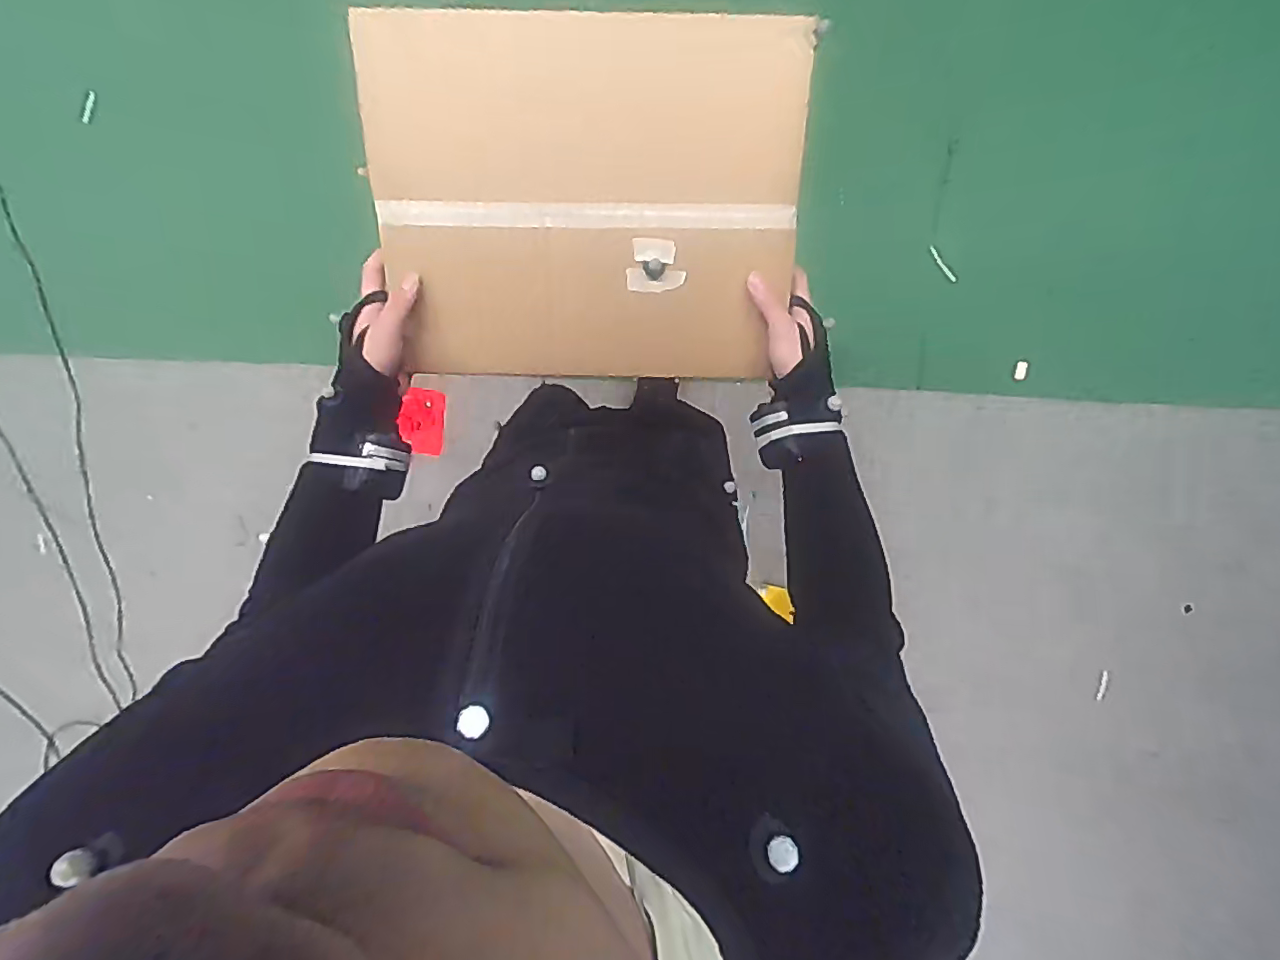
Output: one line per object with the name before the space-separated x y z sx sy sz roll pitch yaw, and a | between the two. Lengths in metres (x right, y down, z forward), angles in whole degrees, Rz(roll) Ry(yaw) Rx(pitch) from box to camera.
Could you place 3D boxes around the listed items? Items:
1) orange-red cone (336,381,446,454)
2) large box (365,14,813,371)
orange-red cone | -0.701 -0.154 1.461 0.199 0.360 0.198 11 102 2
large box | -0.047 -0.318 0.666 0.408 0.320 0.320 0 113 -1
